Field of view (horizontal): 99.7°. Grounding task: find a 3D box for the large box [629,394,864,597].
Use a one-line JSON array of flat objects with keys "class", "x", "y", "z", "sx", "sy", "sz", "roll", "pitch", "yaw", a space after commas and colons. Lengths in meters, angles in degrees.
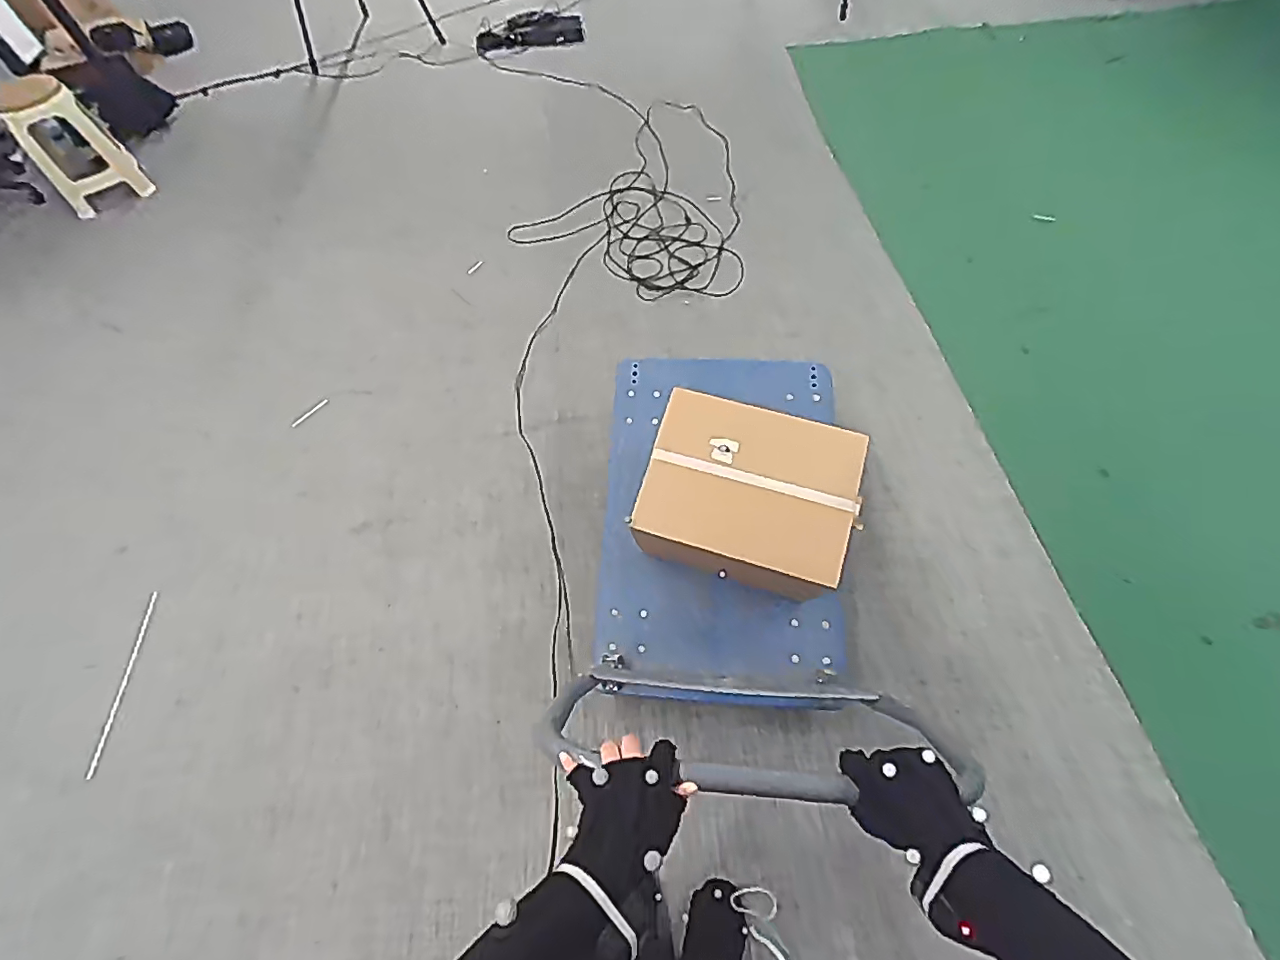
[{"class": "large box", "x": 0.226, "y": 0.050, "z": 1.198, "sx": 0.408, "sy": 0.320, "sz": 0.320, "roll": 16, "pitch": 75, "yaw": 10}]
